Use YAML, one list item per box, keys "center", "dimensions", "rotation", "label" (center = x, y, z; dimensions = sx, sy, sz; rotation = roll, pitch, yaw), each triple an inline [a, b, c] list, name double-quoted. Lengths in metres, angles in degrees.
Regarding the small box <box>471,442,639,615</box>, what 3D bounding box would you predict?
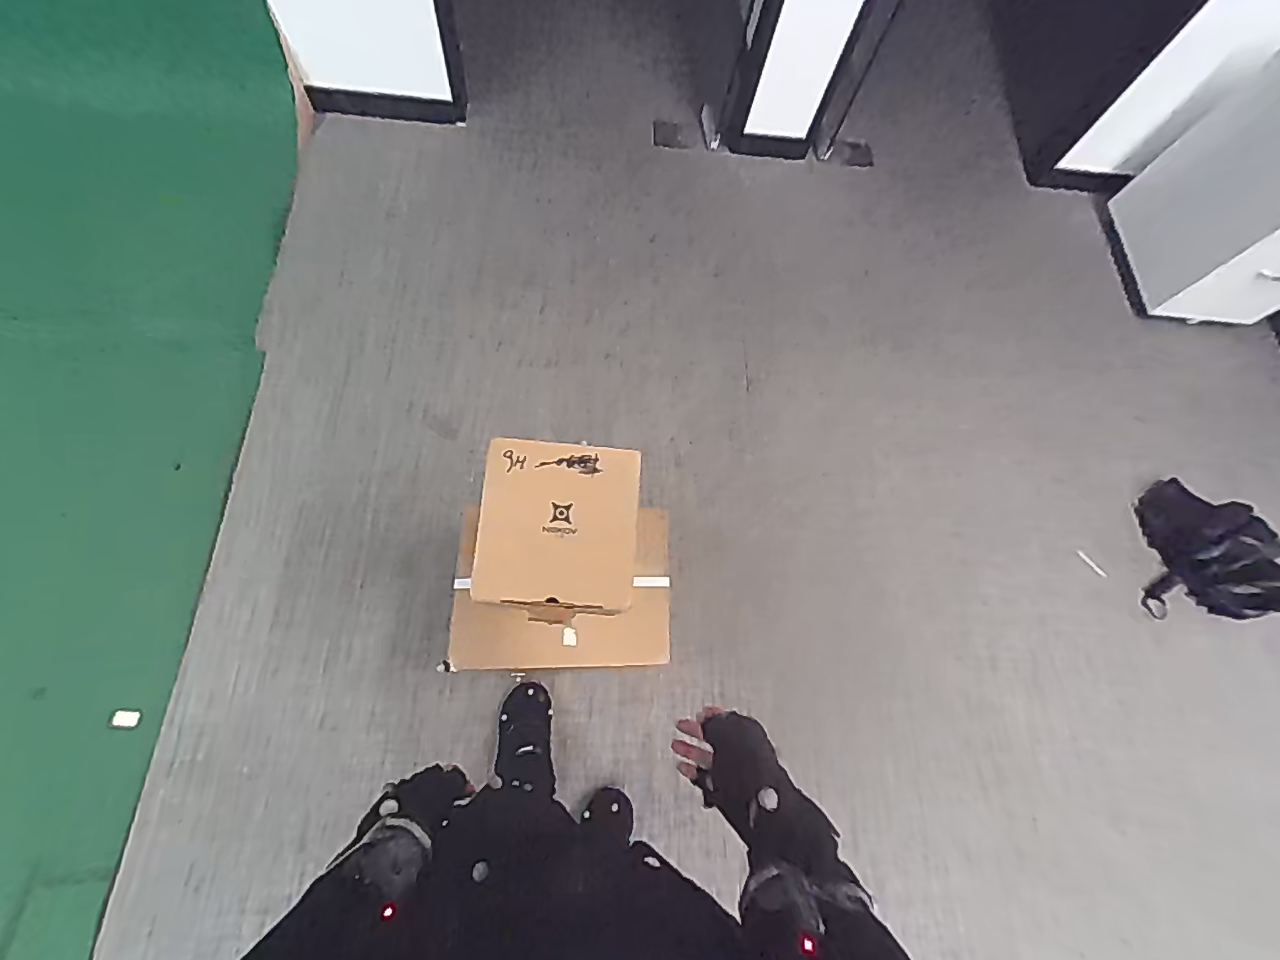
- center: [-0.096, 0.068, 0.651]
  dimensions: [0.168, 0.176, 0.179]
  rotation: [5, 74, -7]
  label: "small box"
